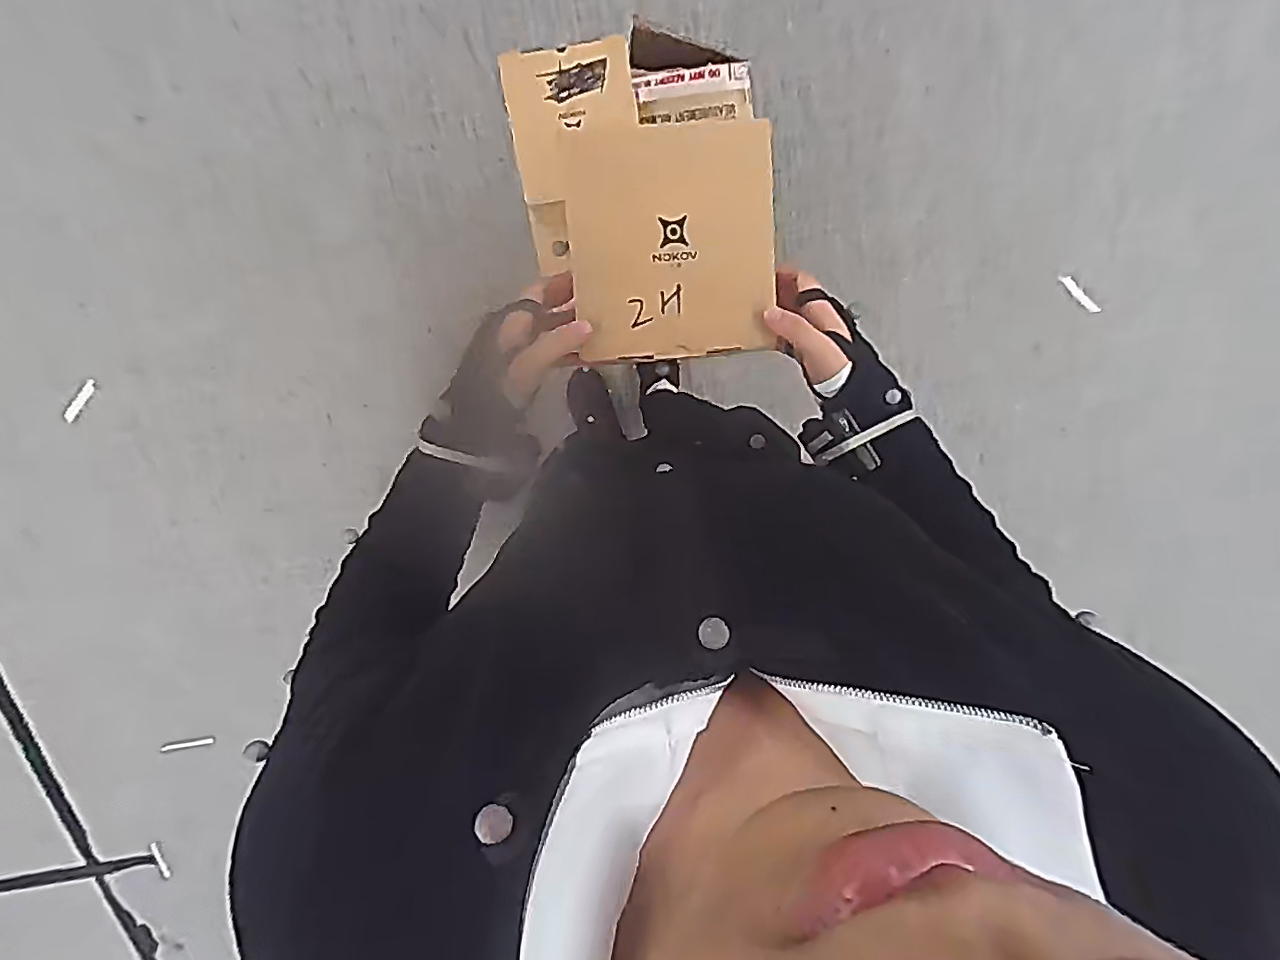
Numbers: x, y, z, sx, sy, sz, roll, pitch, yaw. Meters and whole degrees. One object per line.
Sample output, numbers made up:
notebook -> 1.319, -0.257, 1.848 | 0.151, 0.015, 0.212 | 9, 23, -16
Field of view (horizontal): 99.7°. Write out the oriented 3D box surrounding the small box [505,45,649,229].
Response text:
small box -> -0.084, -0.480, 0.784 | 0.168, 0.176, 0.179 | -9, 108, 1
